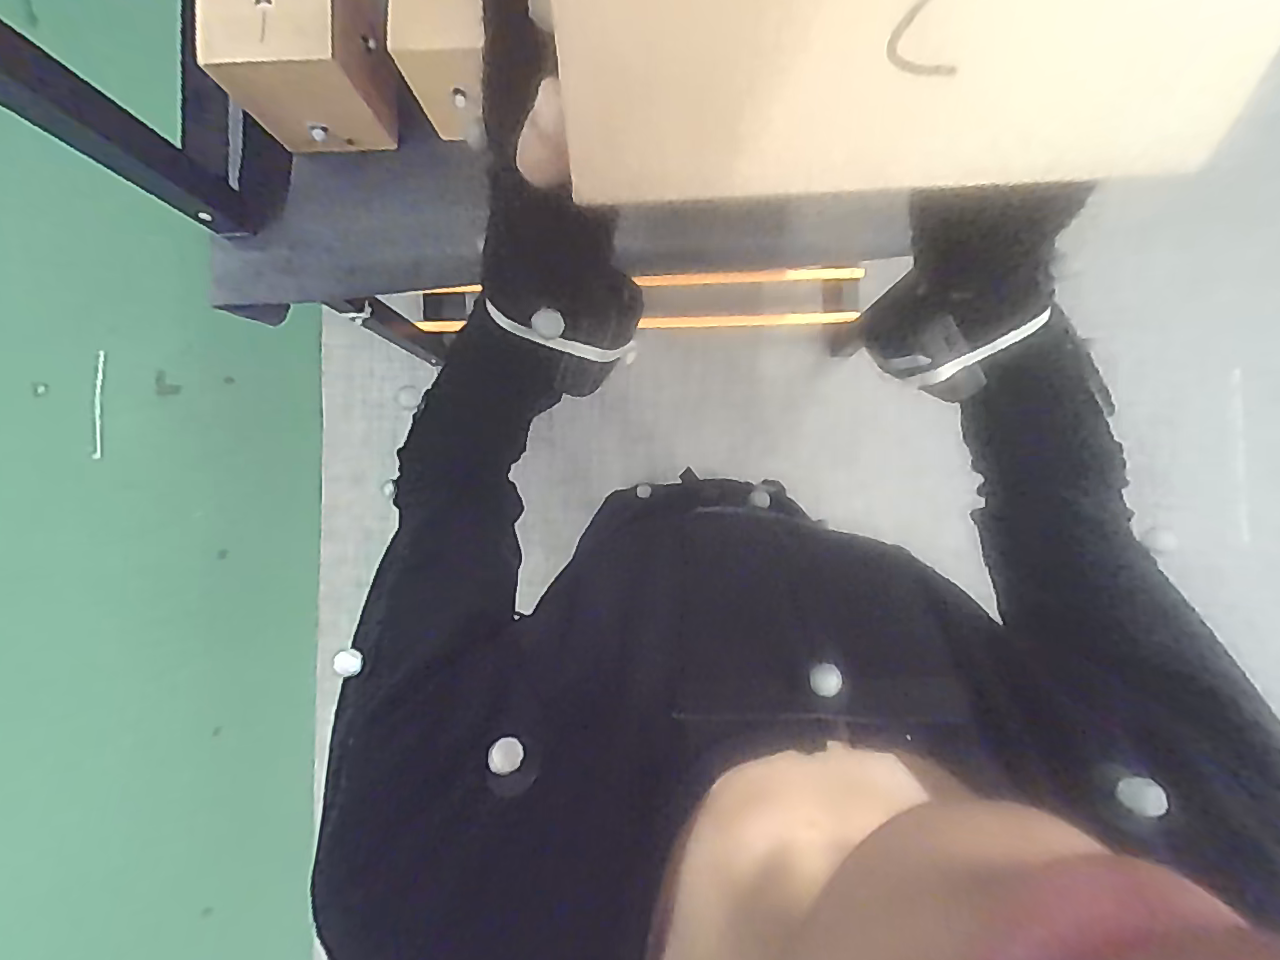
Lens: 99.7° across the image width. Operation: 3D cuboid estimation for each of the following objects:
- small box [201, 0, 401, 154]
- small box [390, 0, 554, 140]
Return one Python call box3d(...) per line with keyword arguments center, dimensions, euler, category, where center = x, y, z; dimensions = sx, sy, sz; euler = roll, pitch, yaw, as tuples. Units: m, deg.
box3d(center=(-0.437, -0.574, 0.724), dimensions=(0.168, 0.176, 0.179), euler=(-1, 88, 2), category="small box")
box3d(center=(-0.210, -0.585, 0.720), dimensions=(0.168, 0.176, 0.179), euler=(0, 87, 2), category="small box")
